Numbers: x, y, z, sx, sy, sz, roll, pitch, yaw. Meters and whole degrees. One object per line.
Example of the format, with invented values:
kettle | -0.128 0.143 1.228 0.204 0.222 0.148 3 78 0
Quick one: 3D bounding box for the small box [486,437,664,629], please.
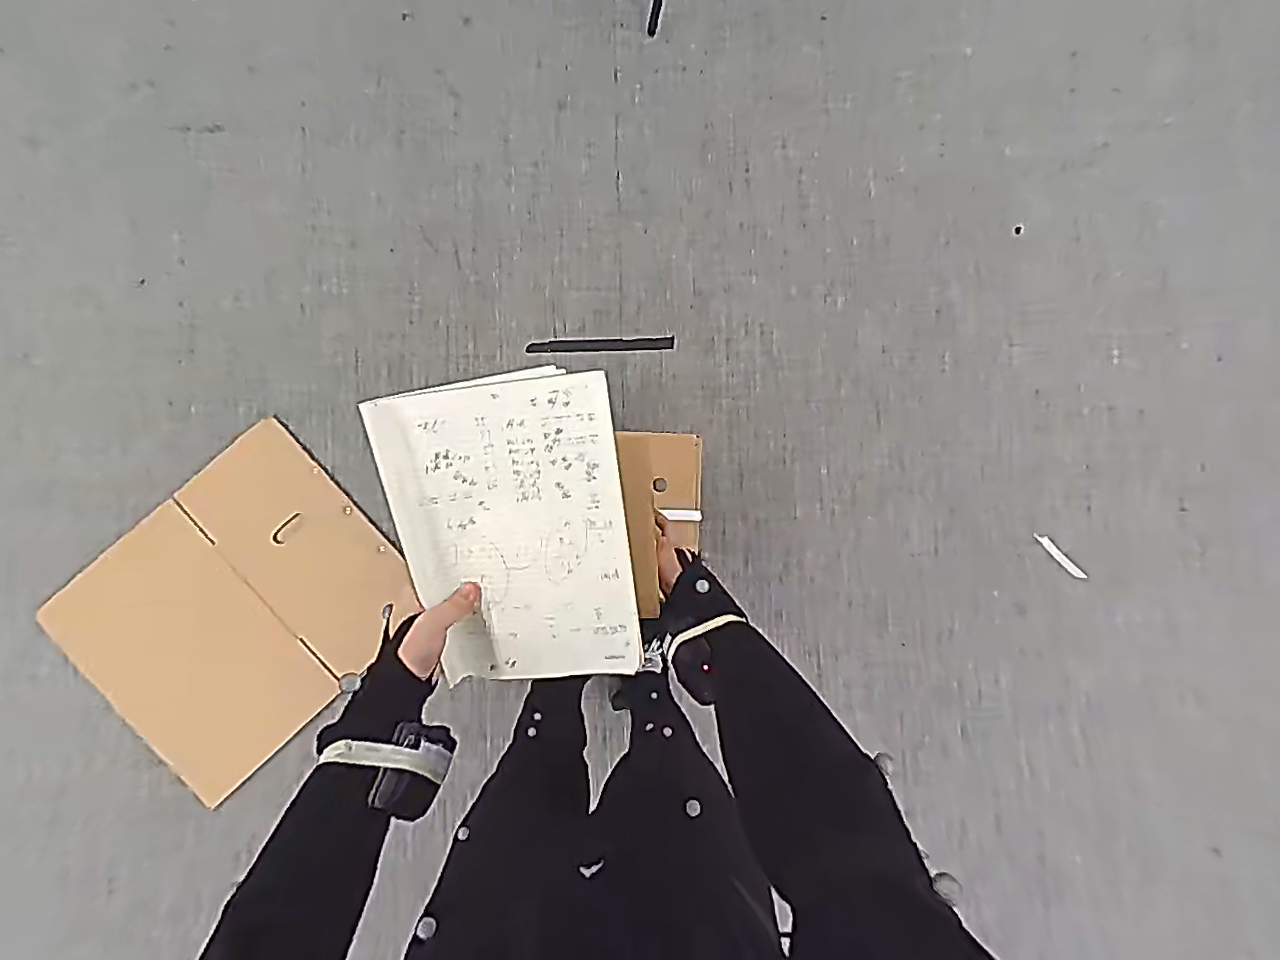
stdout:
small box | -0.066 0.055 0.586 0.168 0.176 0.179 -3 86 -3
